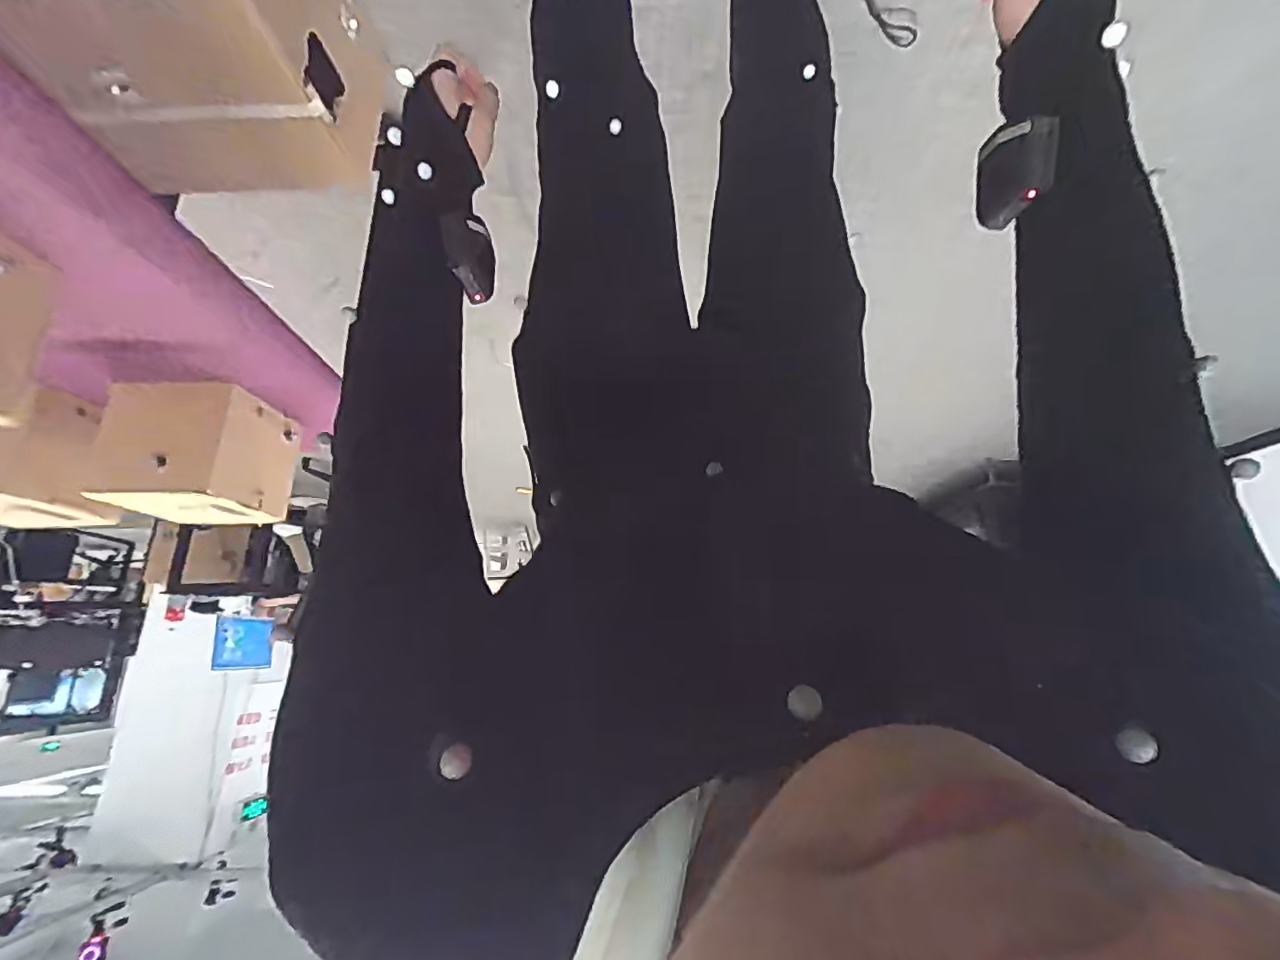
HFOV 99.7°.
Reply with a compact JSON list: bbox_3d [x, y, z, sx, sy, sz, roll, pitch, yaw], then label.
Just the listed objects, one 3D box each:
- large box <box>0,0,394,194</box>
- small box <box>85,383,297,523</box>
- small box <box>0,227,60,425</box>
[{"bbox_3d":[-0.681,-0.711,0.875,0.408,0.320,0.320,0,161,2],"label":"large box"},{"bbox_3d":[-0.650,-0.036,0.812,0.179,0.176,0.168,0,162,2],"label":"small box"},{"bbox_3d":[-0.659,-0.155,0.446,0.179,0.176,0.168,0,163,1],"label":"small box"}]
